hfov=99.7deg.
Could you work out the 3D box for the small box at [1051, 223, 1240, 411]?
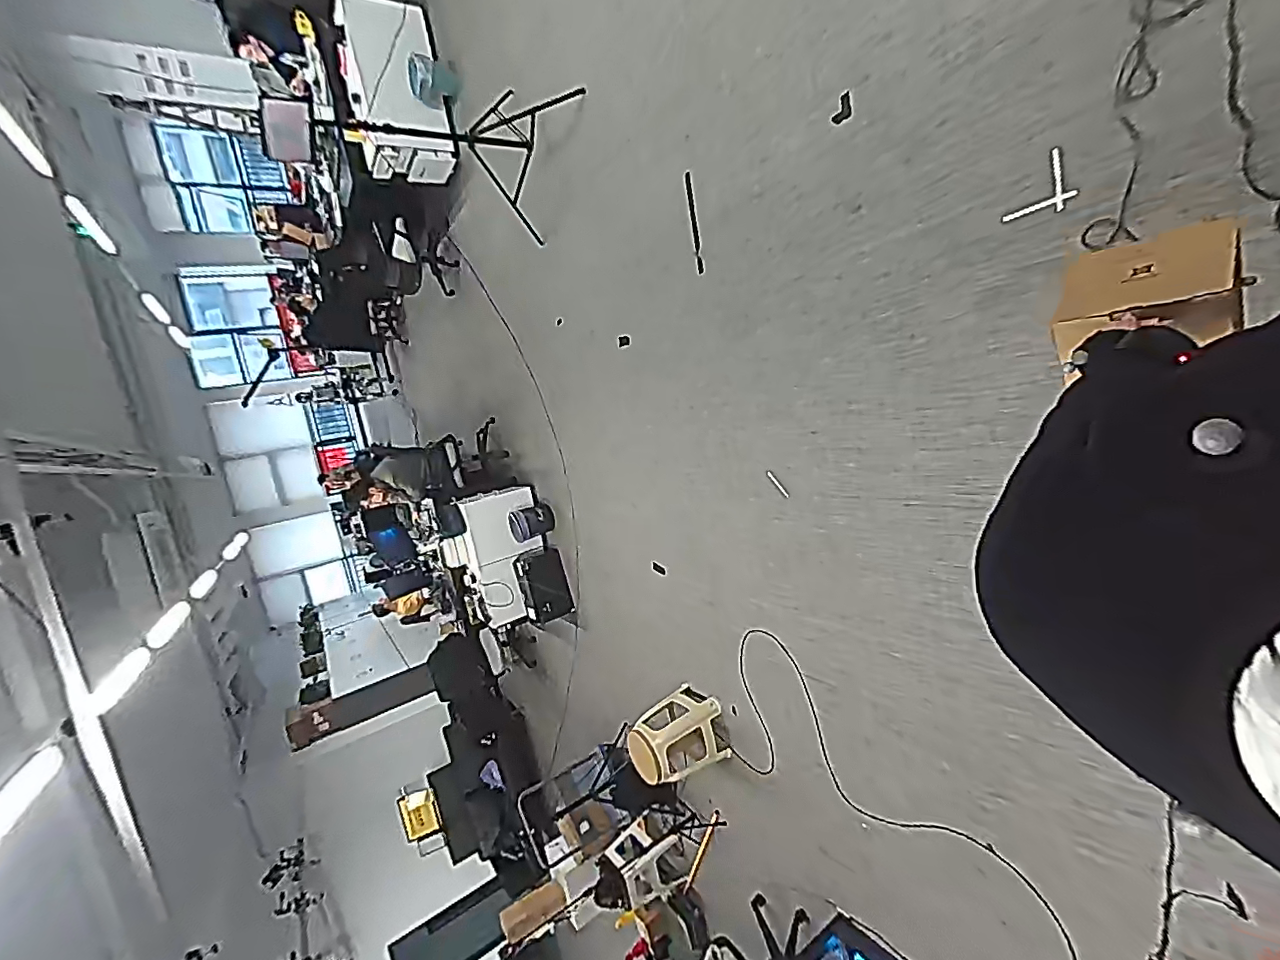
[{"bbox_3d":[0.695,-0.208,0.741,0.168,0.179,0.176,1,134,49],"label":"small box"}]
